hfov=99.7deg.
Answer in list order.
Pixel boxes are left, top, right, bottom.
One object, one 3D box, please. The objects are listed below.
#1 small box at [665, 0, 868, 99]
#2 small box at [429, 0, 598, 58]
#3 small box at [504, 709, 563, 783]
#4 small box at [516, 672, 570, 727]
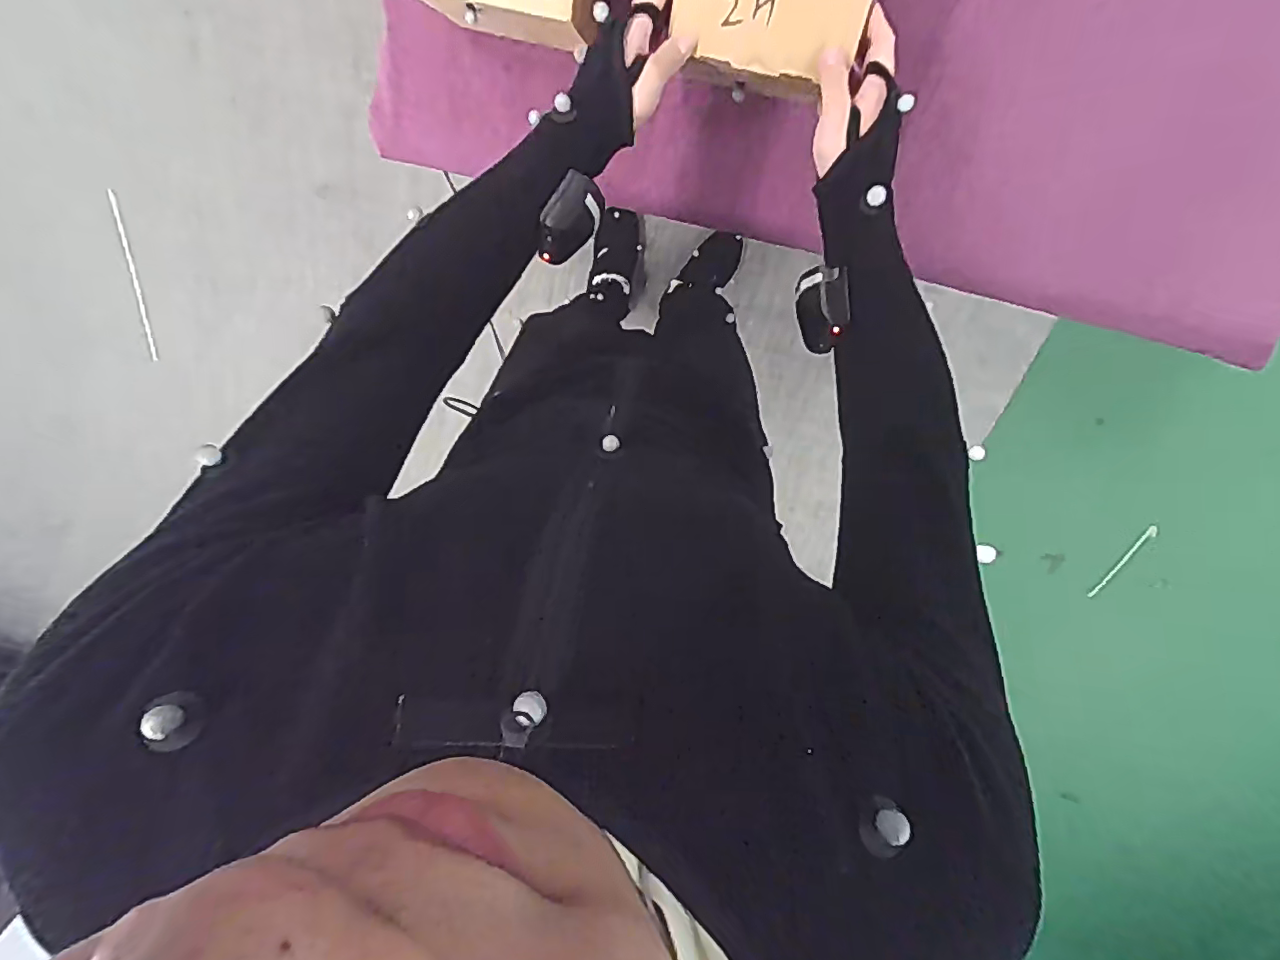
[{"bbox_3d":[0.119,-0.478,0.499,0.168,0.176,0.179,10,122,-2],"label":"small box"},{"bbox_3d":[-0.124,-0.540,0.512,0.168,0.176,0.179,12,119,-2],"label":"small box"},{"bbox_3d":[-0.388,0.981,1.999,0.168,0.176,0.179,17,121,-7],"label":"small box"},{"bbox_3d":[-0.380,0.898,2.140,0.168,0.176,0.179,16,120,-7],"label":"small box"}]
